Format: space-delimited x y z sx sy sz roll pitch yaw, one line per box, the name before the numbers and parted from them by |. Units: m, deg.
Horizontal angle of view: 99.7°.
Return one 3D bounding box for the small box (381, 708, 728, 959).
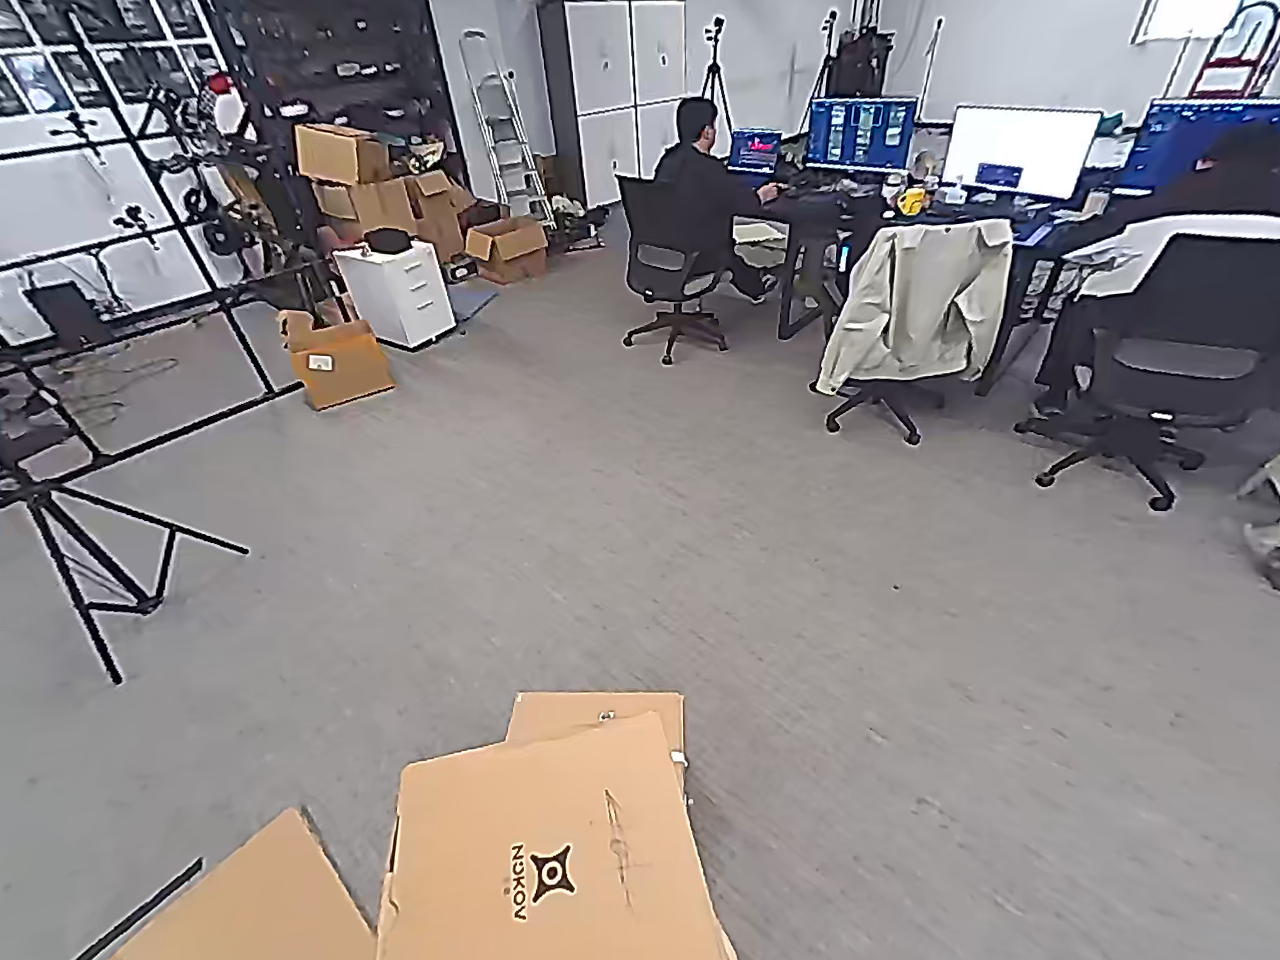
small box | -0.051 0.284 0.352 0.179 0.176 0.168 -9 39 -10
